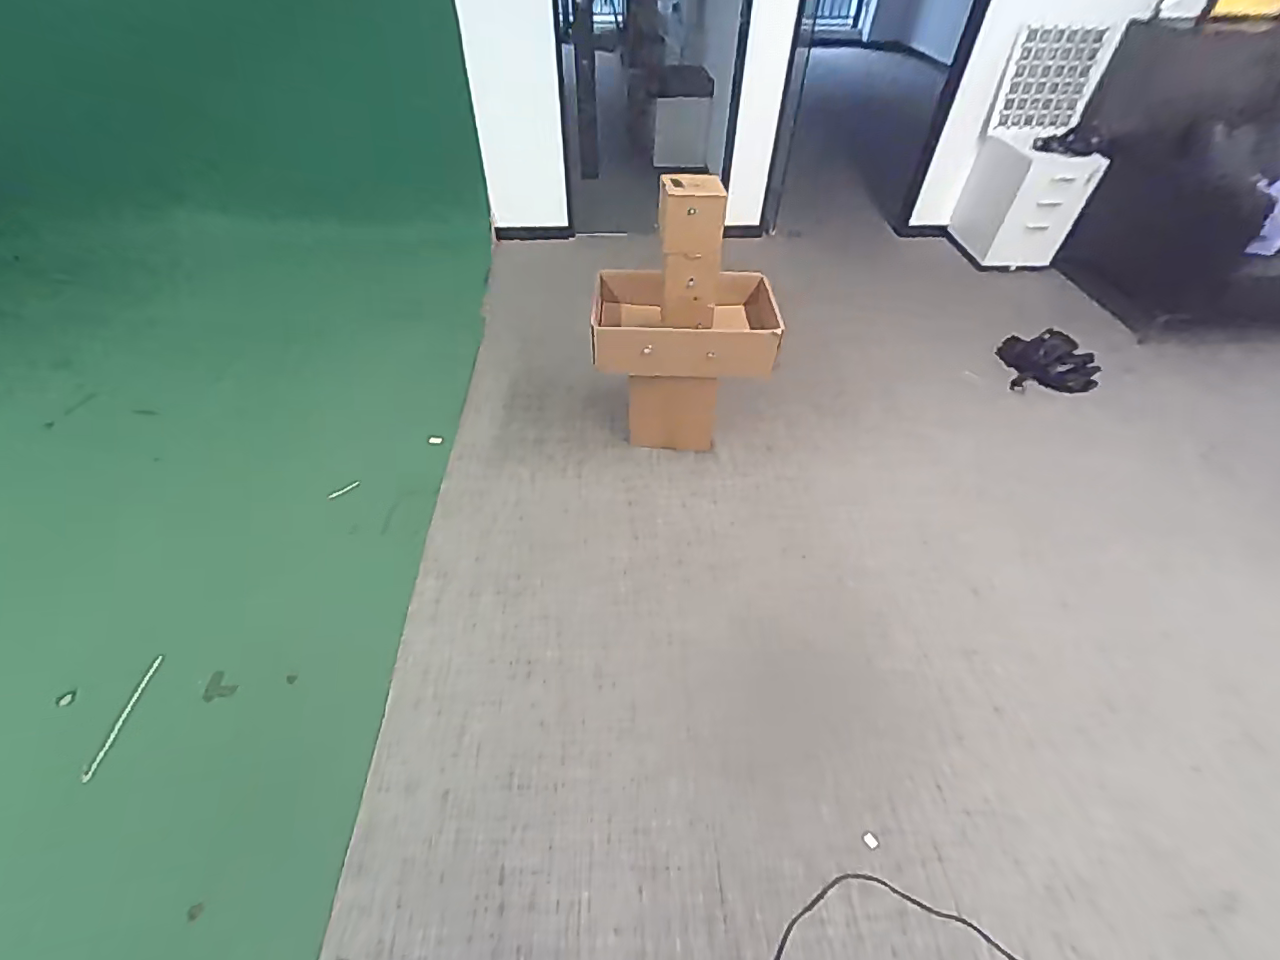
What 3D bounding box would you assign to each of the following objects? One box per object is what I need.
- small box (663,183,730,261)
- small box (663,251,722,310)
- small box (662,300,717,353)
[{"bbox_3d":[0.163,-0.780,1.637,0.179,0.176,0.168,-1,46,-5],"label":"small box"},{"bbox_3d":[0.165,-0.668,1.759,0.168,0.176,0.179,0,47,-3],"label":"small box"},{"bbox_3d":[0.168,-0.553,1.875,0.168,0.176,0.179,-1,45,-3],"label":"small box"}]
